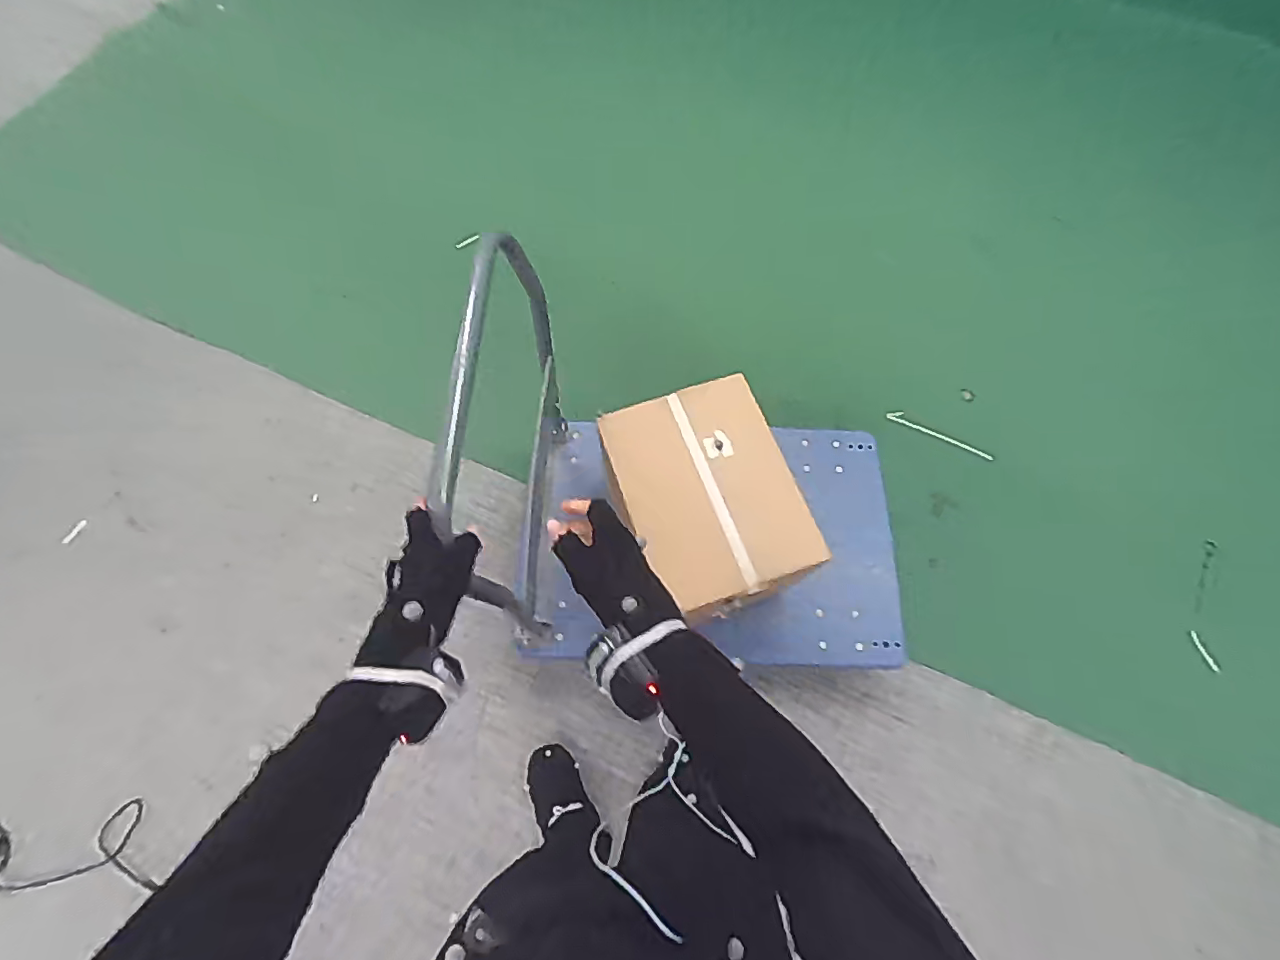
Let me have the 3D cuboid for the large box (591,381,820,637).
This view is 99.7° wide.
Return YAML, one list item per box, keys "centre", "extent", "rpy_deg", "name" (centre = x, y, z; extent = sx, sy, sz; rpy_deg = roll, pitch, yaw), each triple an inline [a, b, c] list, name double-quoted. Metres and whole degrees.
- centre: [0.114, 0.073, 1.139]
  extent: [0.320, 0.320, 0.408]
  rpy_deg: [-17, 68, -8]
  name: "large box"
